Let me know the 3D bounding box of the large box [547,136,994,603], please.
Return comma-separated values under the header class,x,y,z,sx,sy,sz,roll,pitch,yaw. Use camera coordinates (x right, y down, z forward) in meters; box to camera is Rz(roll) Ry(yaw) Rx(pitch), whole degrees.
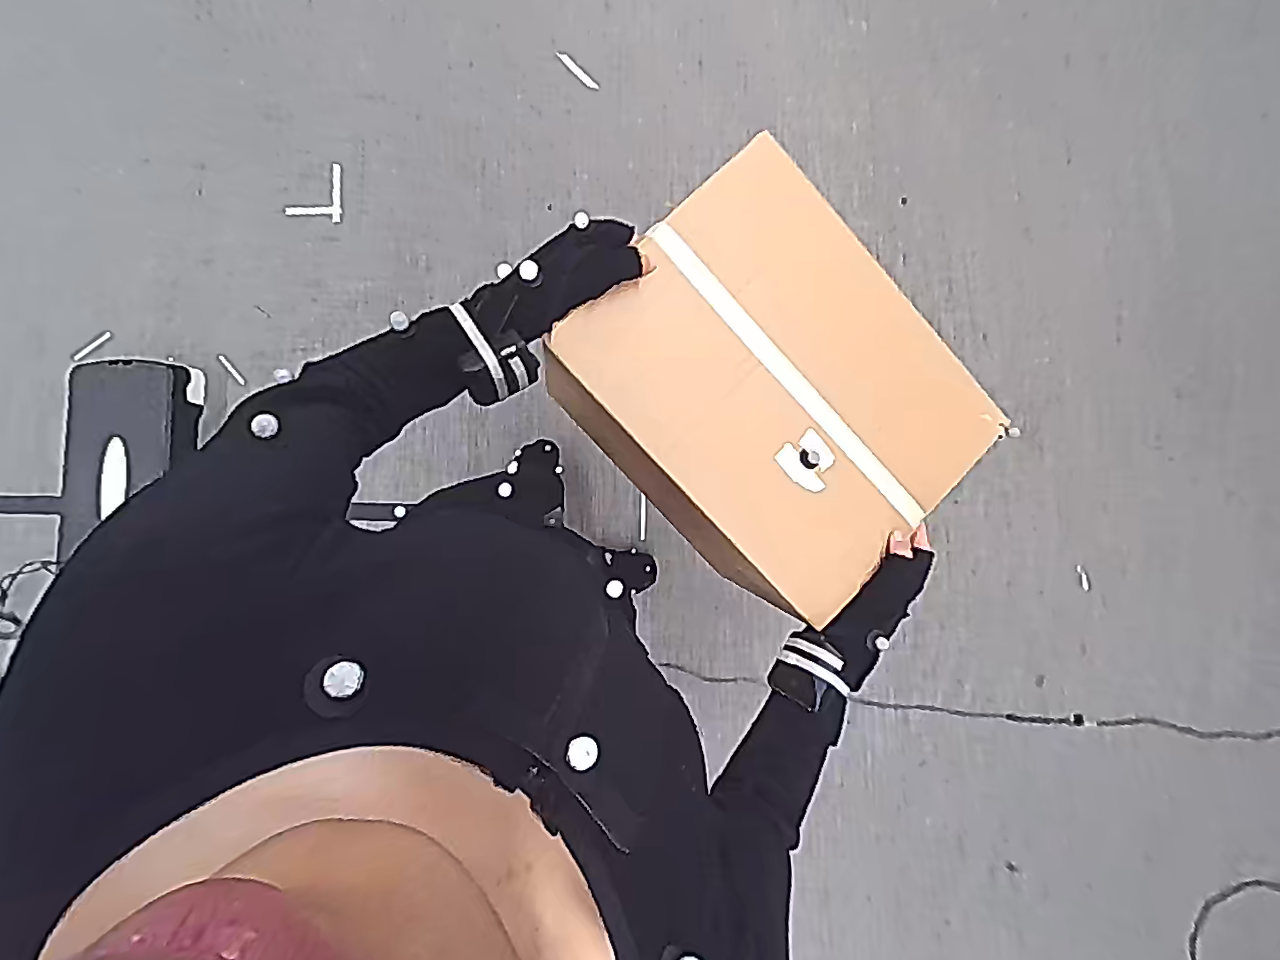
class,x,y,z,sx,sy,sz,roll,pitch,yaw
large box,0.125,-0.113,0.704,0.320,0.320,0.408,-45,97,-6
